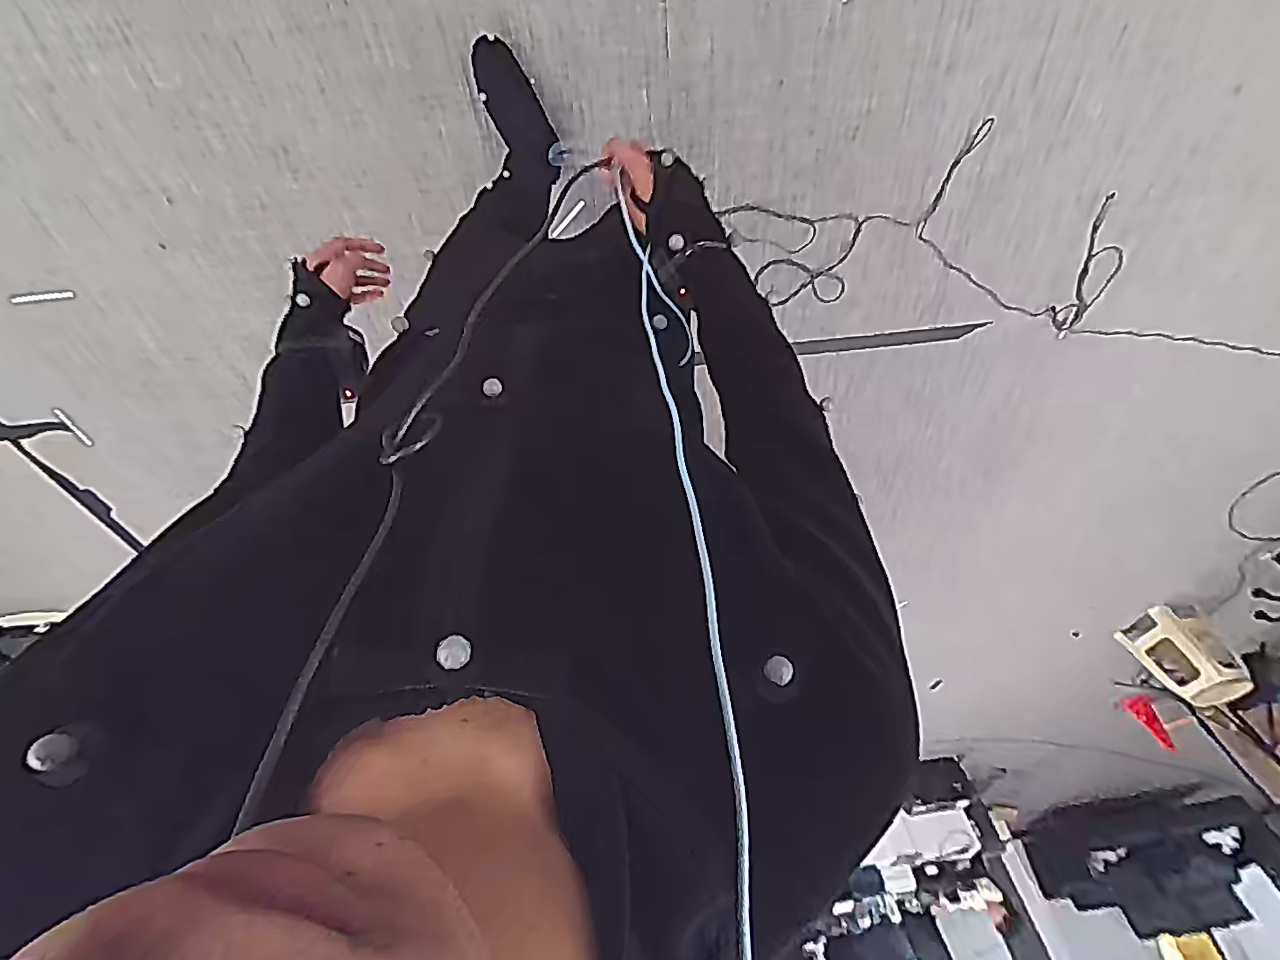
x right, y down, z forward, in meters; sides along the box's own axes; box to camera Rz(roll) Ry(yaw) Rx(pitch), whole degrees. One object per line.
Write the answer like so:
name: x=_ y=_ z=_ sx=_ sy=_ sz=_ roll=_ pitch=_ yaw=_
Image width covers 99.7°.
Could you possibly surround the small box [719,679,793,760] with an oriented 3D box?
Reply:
small box: x=0.344 y=0.727 z=1.647 sx=0.179 sy=0.176 sz=0.168 roll=-5 pitch=134 yaw=-3
